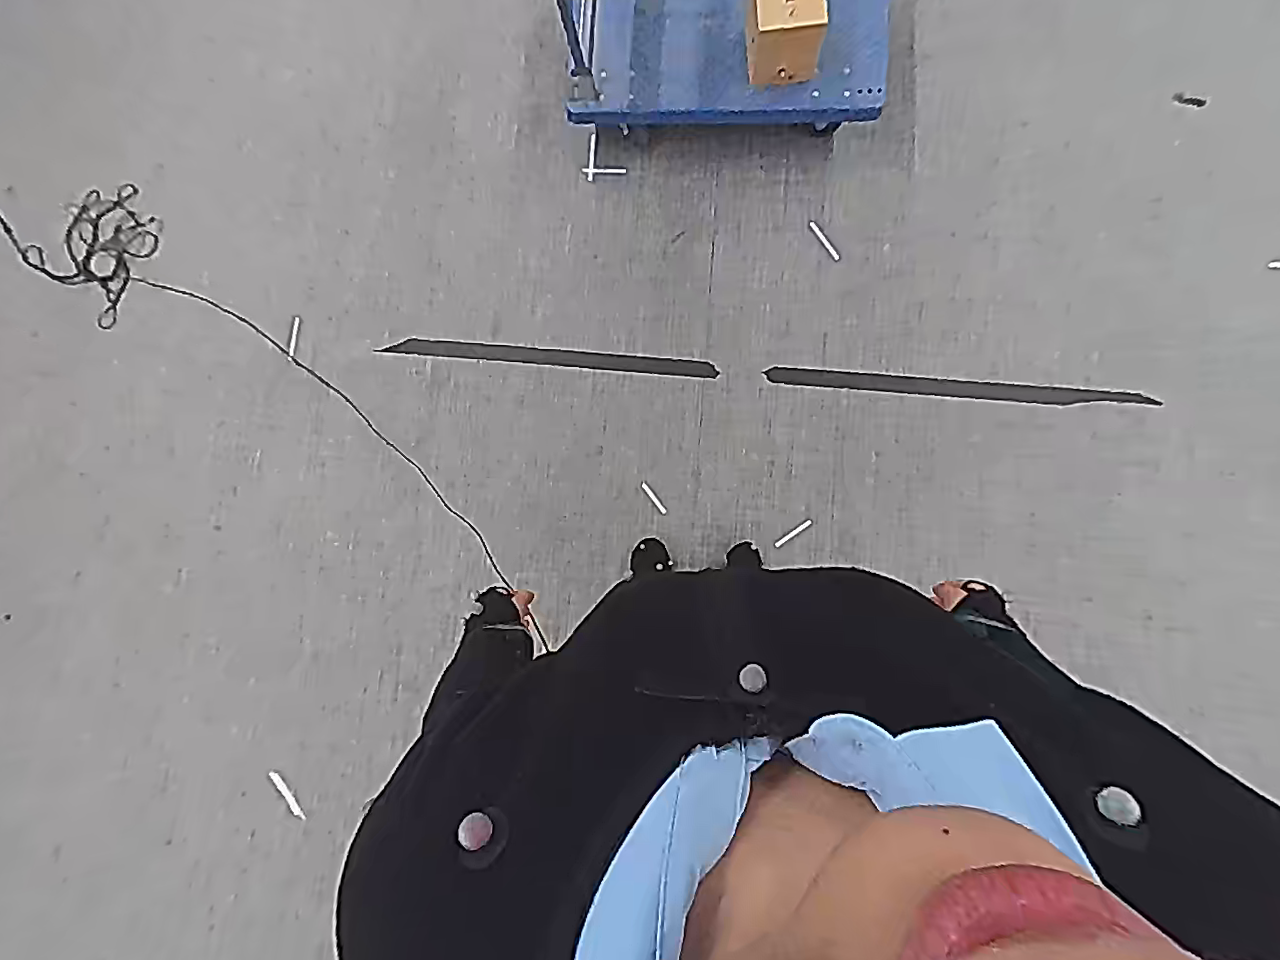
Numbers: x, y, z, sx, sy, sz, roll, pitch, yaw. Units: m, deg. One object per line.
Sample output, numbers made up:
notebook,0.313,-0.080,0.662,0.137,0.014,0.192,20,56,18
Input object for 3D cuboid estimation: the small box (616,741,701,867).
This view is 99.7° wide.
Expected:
small box,0.046,0.710,1.203,0.168,0.176,0.179,5,83,5
